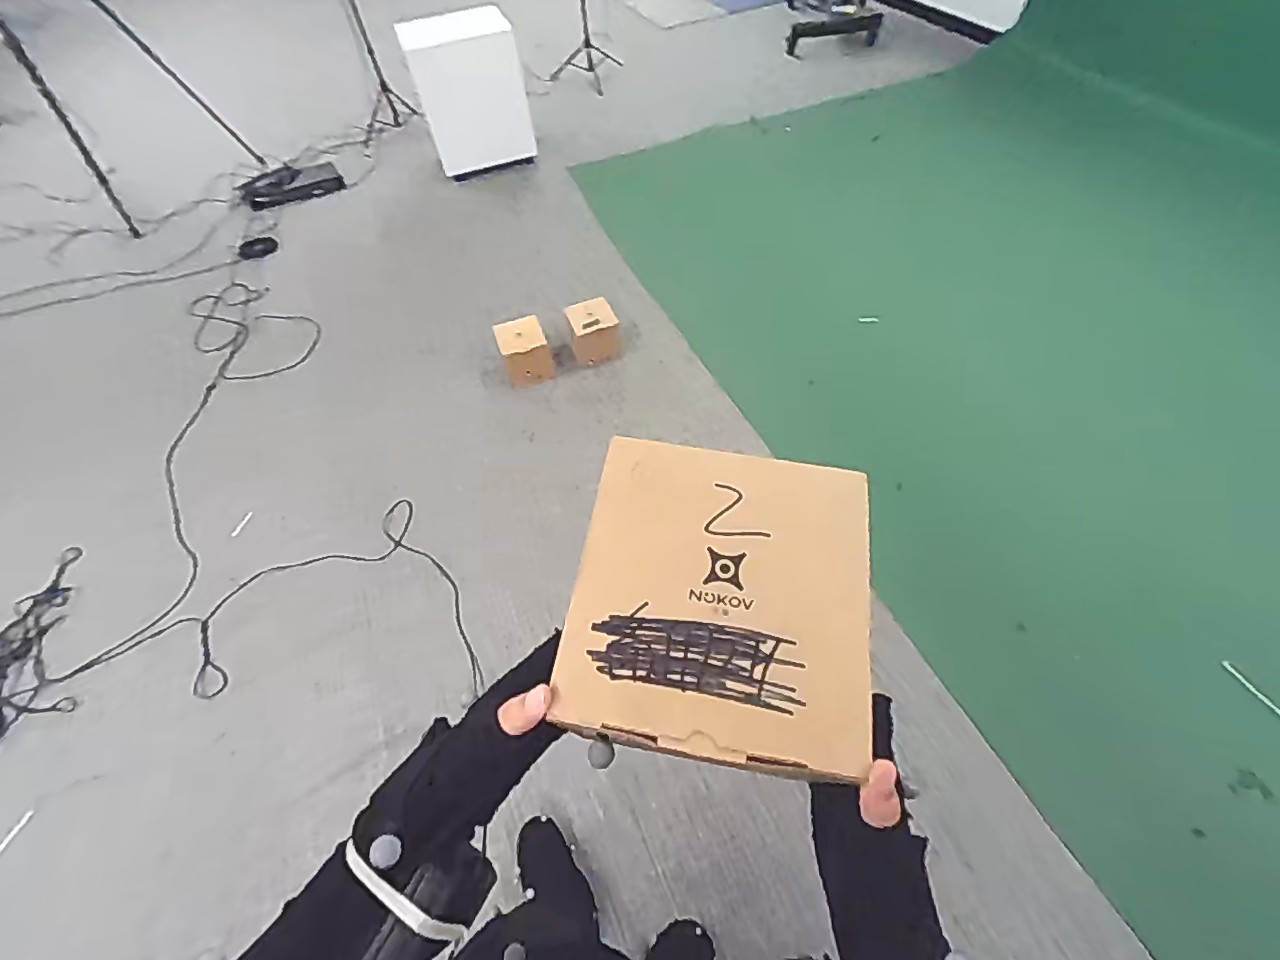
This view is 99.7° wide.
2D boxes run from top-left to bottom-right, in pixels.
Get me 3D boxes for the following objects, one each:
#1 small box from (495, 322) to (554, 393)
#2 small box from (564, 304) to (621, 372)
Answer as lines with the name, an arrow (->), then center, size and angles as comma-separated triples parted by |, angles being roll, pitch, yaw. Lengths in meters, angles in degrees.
small box -> -0.432, -0.457, 2.028 | 0.168, 0.176, 0.179 | -19, 56, -11
small box -> -0.178, -0.535, 2.071 | 0.168, 0.176, 0.179 | -19, 56, -11
